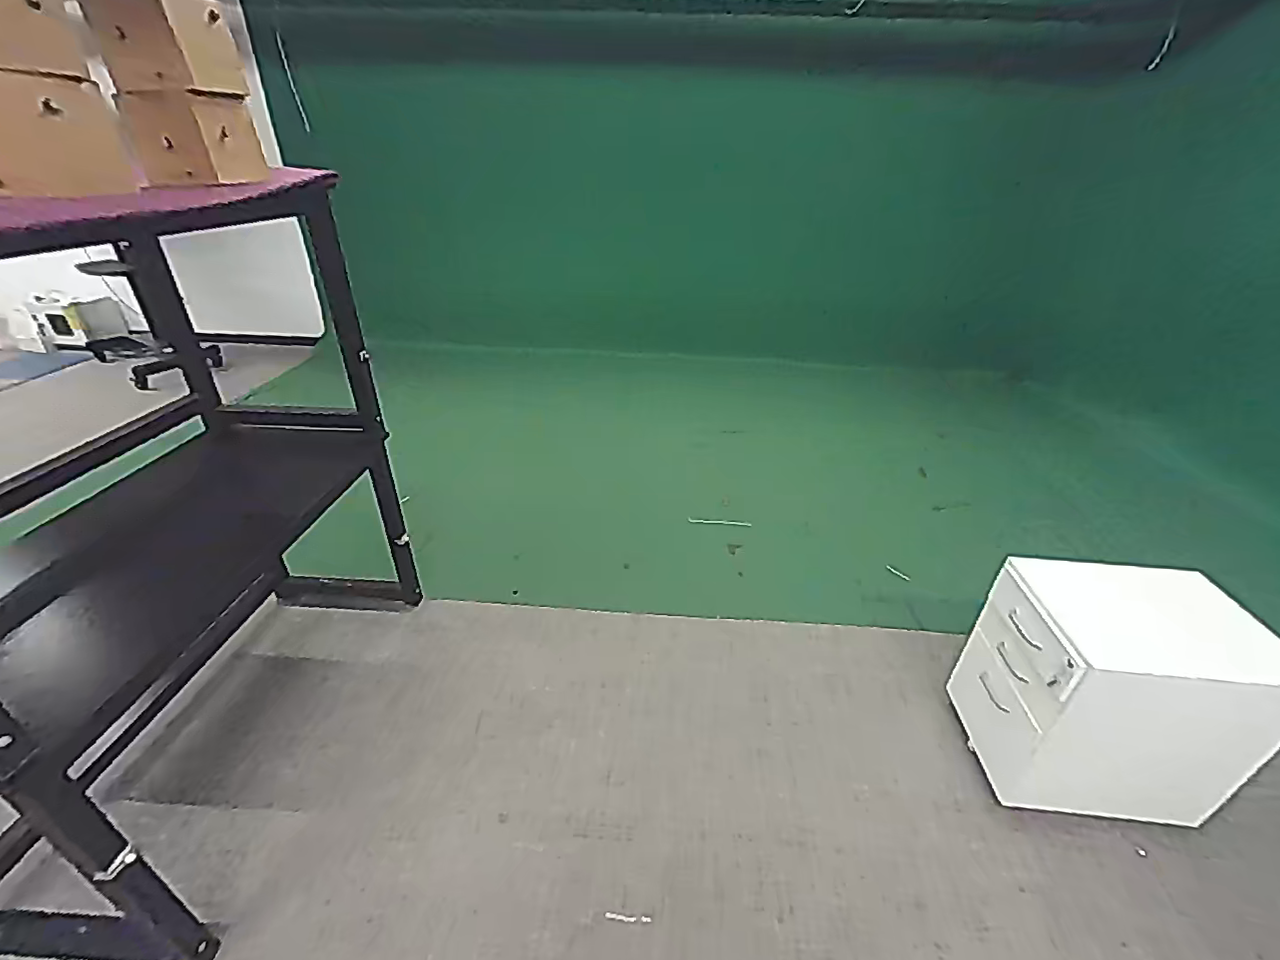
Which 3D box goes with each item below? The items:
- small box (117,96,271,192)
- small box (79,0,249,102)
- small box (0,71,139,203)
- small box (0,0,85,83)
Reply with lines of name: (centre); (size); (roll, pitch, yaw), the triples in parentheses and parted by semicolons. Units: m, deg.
small box: (-0.964, -0.737, 1.193); (0.168, 0.176, 0.179); (1, 32, 4)
small box: (-0.954, -0.876, 1.108); (0.168, 0.176, 0.179); (1, 31, 4)
small box: (-0.978, -0.542, 0.867); (0.168, 0.176, 0.179); (4, 30, 3)
small box: (-0.974, -0.680, 0.781); (0.168, 0.176, 0.179); (8, 32, 12)
